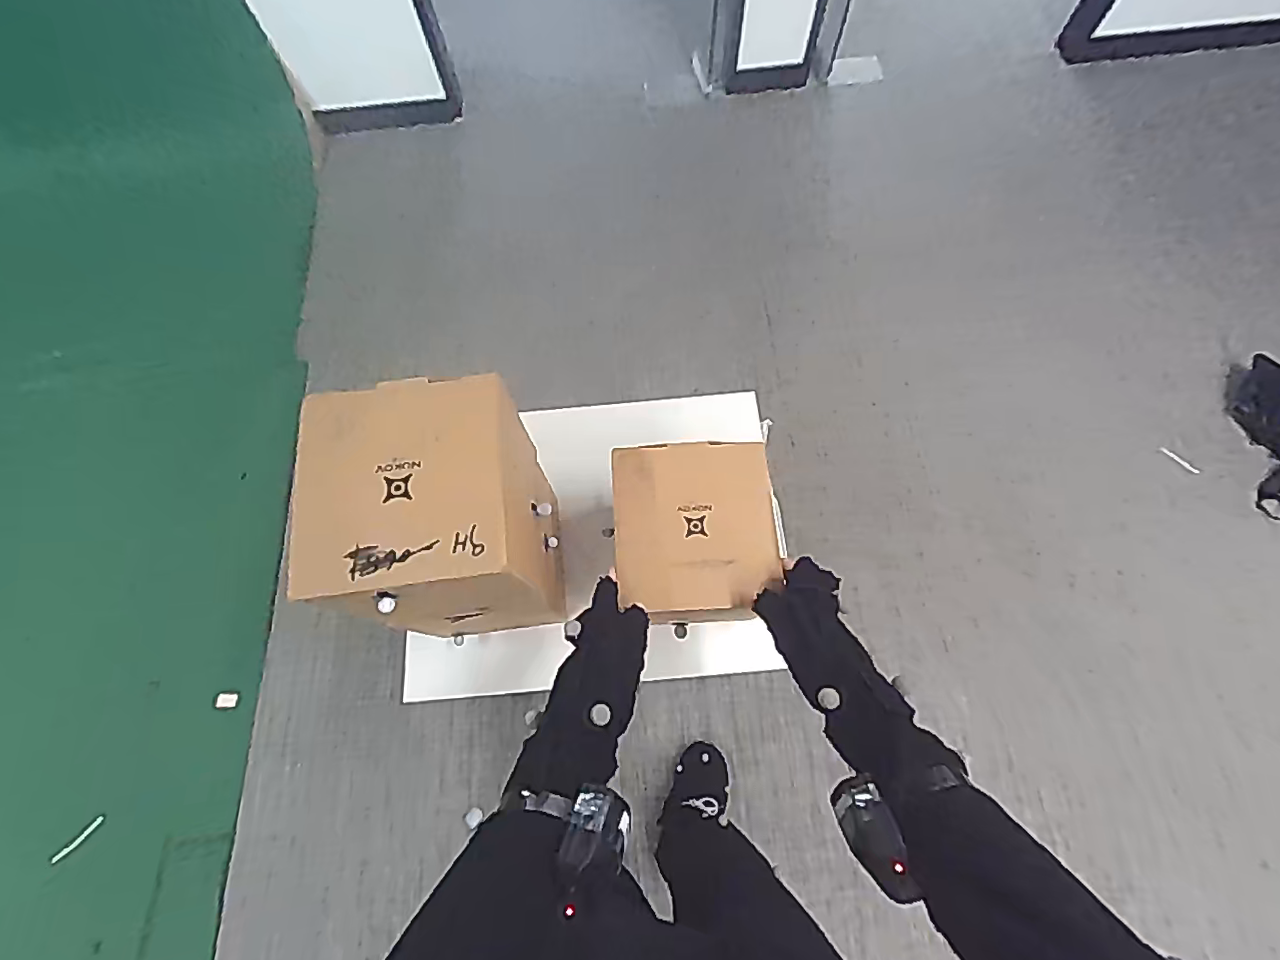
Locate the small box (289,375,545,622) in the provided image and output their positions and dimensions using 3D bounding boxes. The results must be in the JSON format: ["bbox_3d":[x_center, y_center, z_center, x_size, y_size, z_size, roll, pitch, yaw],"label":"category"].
[{"bbox_3d":[-0.190,0.027,0.511,0.168,0.176,0.179,-8,69,-1],"label":"small box"}]

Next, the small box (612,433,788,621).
[{"bbox_3d":[0.054,0.061,0.614,0.168,0.176,0.179,-4,72,-1],"label":"small box"}]

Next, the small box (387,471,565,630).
[{"bbox_3d":[-0.189,0.085,0.664,0.168,0.176,0.179,-8,69,-1],"label":"small box"}]
